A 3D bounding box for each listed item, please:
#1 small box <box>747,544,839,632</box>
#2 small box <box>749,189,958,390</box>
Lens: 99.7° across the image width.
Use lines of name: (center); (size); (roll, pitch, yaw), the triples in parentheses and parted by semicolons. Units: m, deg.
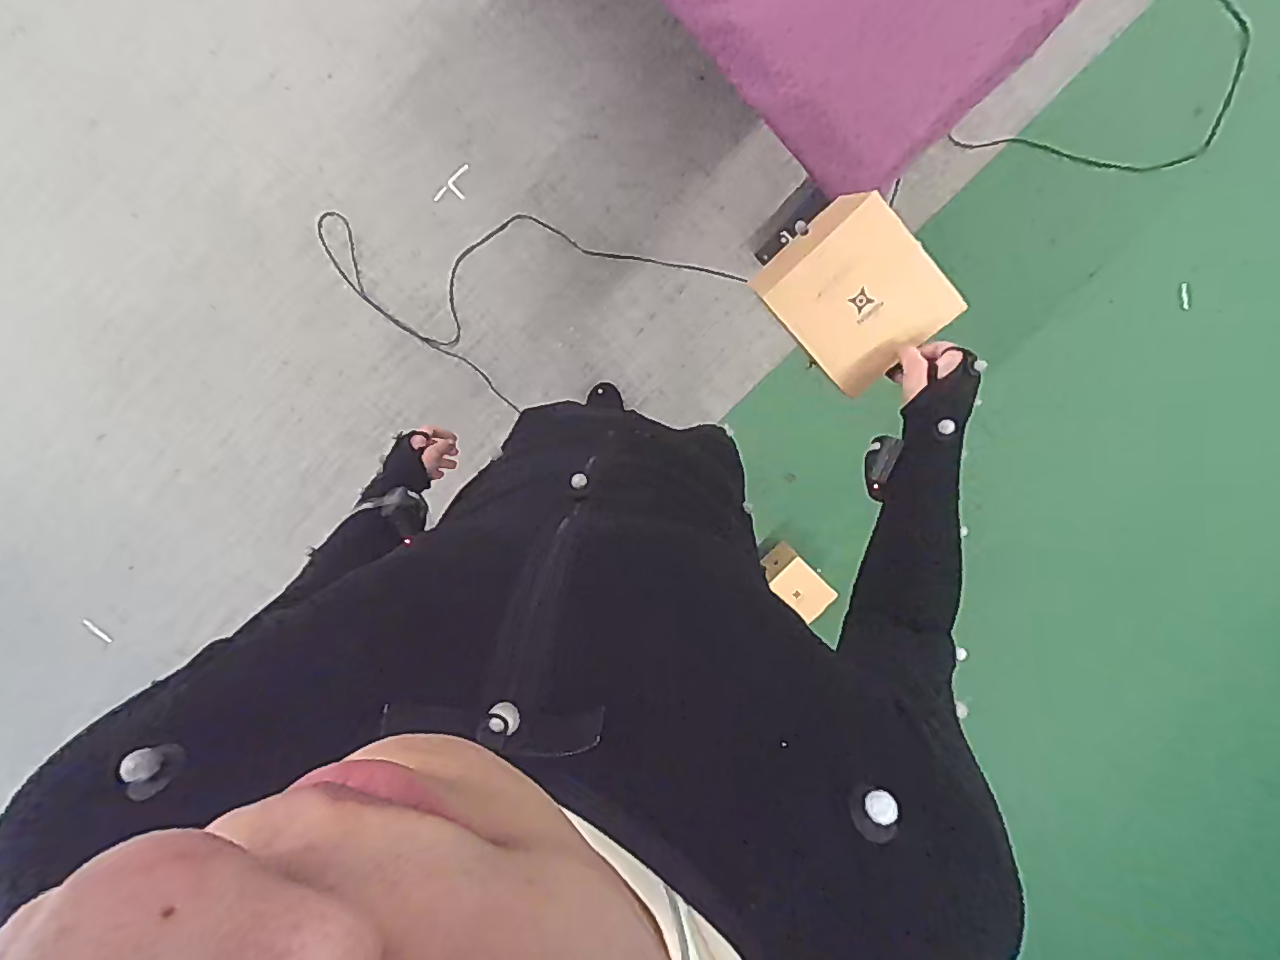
small box: (0.447, 0.311, 1.613); (0.179, 0.176, 0.168); (42, 96, -9)
small box: (0.267, -0.254, 0.715); (0.179, 0.176, 0.168); (43, 111, -15)
